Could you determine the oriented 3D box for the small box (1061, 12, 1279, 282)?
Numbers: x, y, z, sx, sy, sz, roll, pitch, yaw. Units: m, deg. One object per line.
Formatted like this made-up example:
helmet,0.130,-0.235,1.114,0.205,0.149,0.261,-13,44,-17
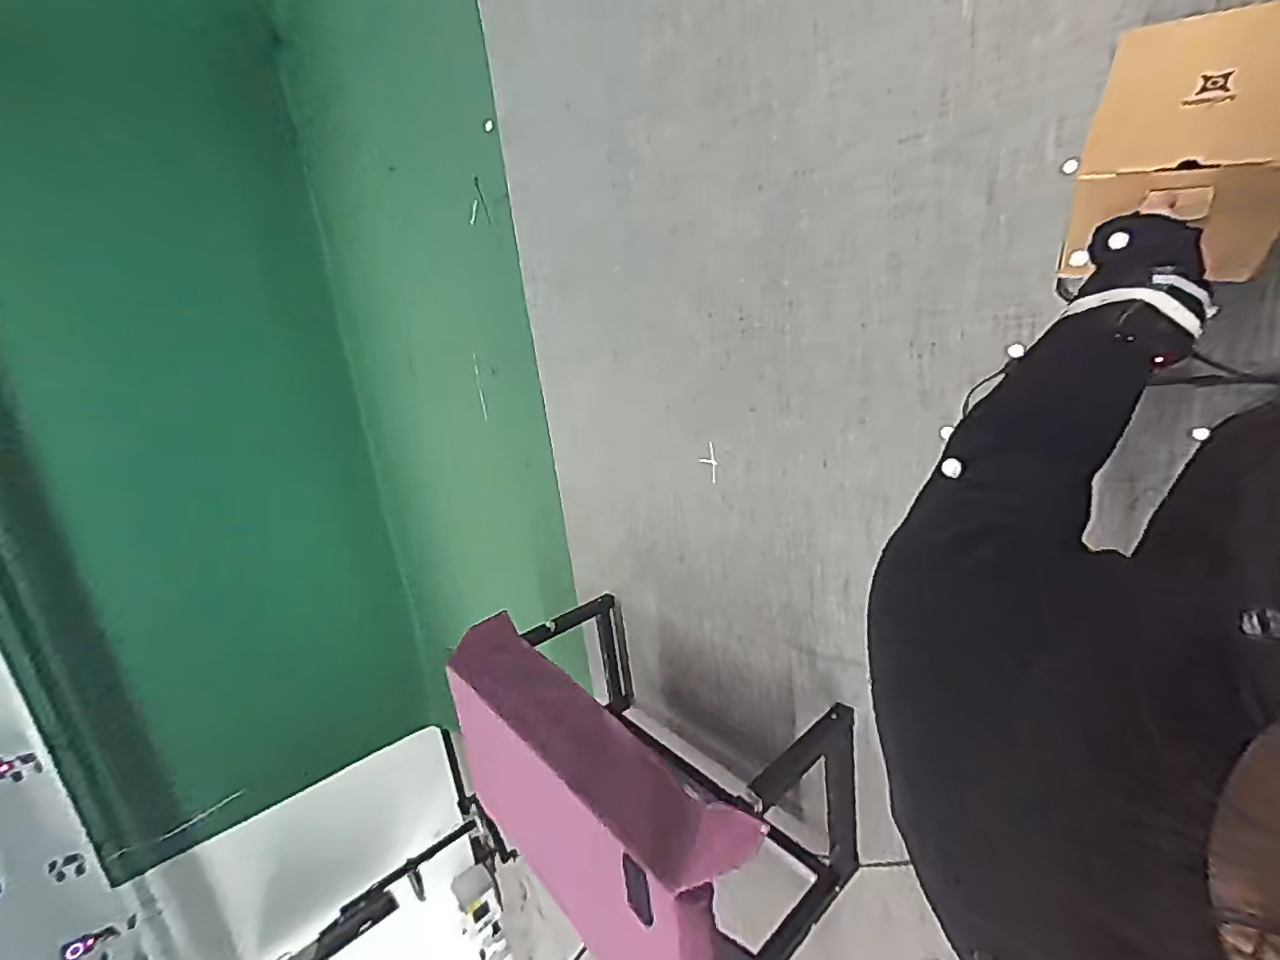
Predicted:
small box,0.578,-0.341,0.578,0.168,0.176,0.179,18,83,36
